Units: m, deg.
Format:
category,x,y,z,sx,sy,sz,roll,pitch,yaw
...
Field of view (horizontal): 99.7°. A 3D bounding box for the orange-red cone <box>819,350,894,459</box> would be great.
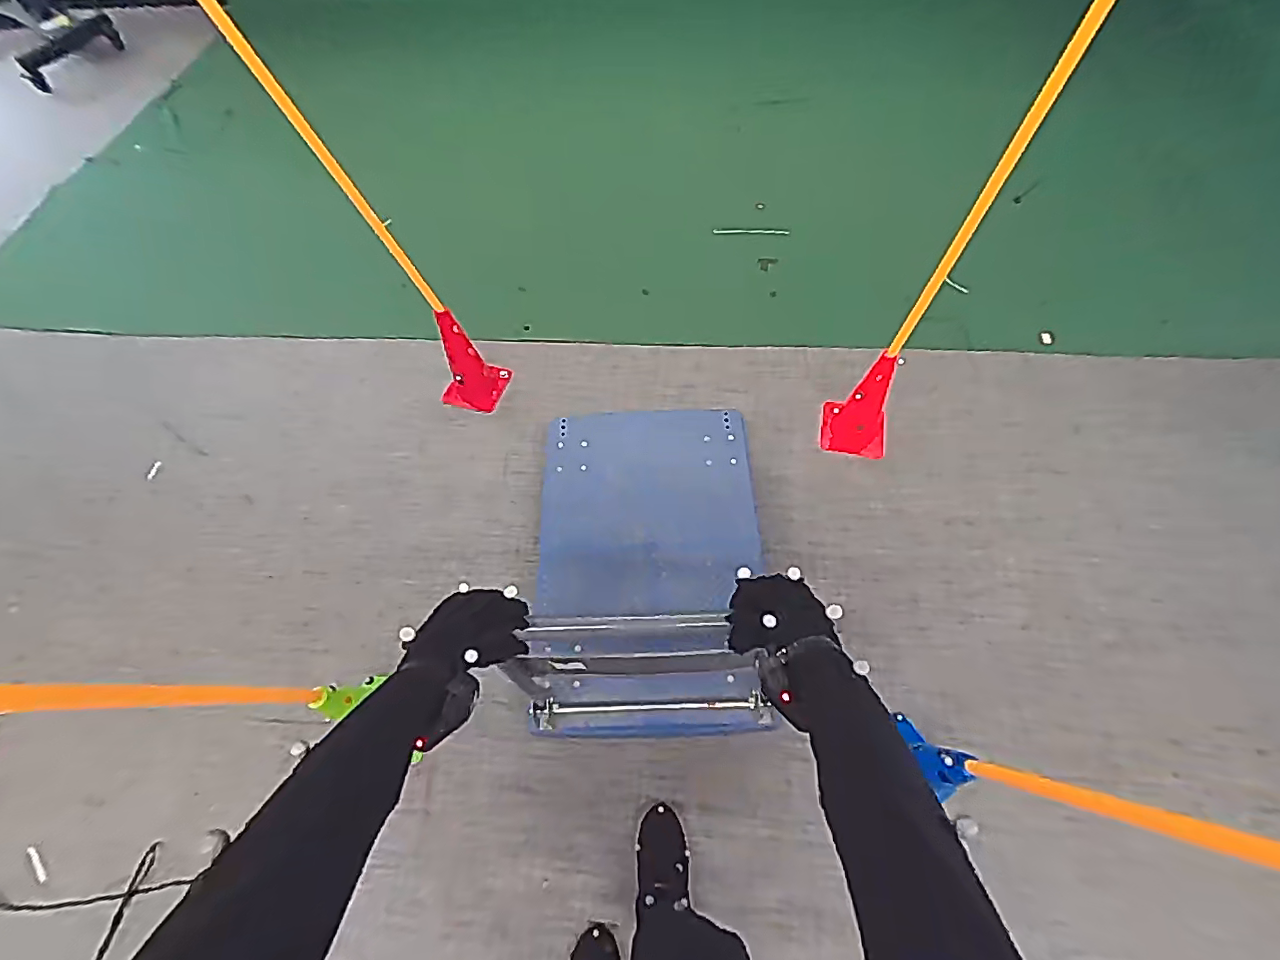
category,x,y,z,sx,sy,sz,roll,pitch,yaw
orange-red cone,0.677,-0.247,1.600,0.198,0.360,0.199,12,62,11
